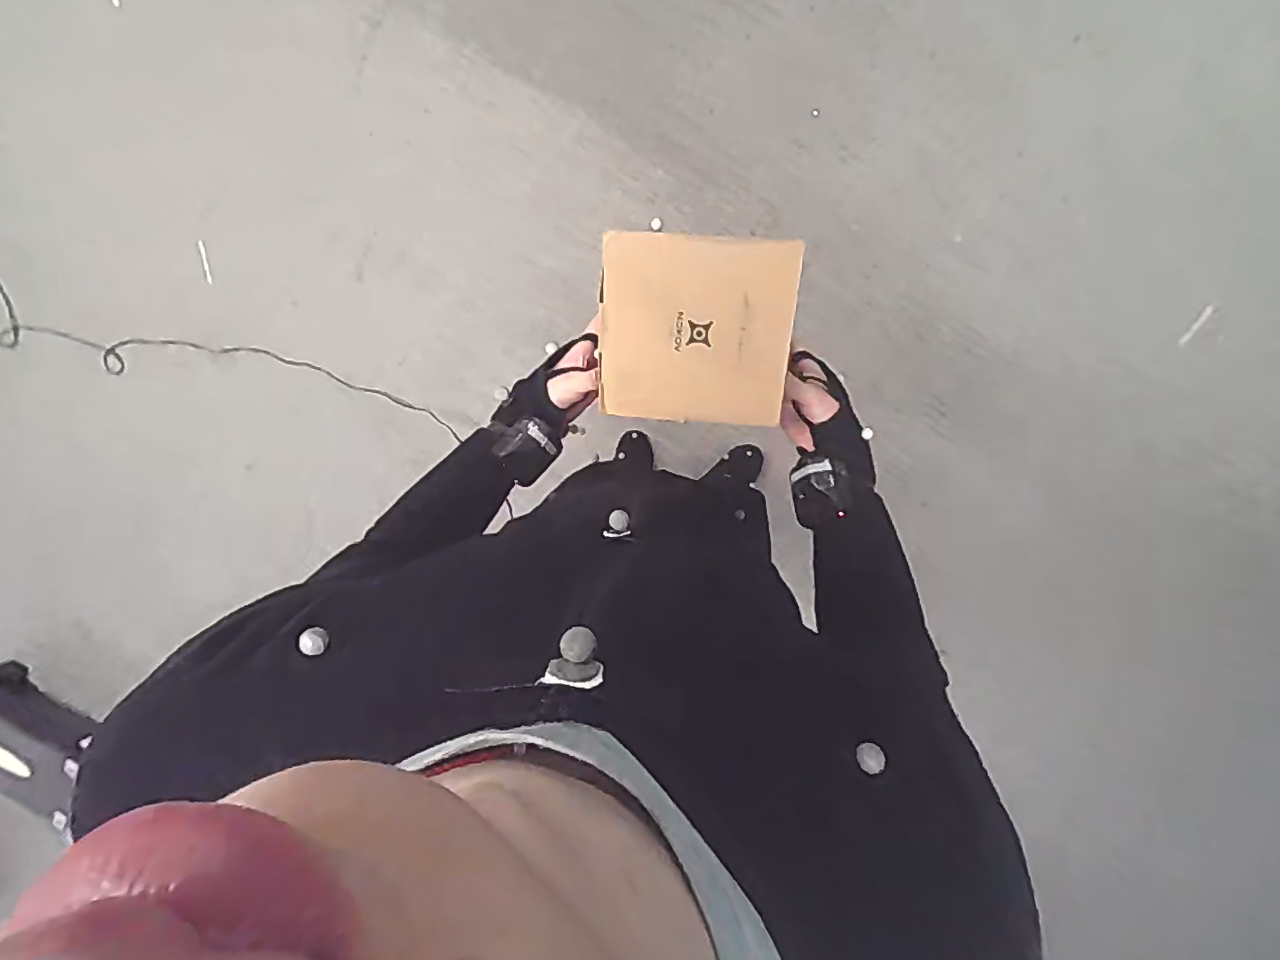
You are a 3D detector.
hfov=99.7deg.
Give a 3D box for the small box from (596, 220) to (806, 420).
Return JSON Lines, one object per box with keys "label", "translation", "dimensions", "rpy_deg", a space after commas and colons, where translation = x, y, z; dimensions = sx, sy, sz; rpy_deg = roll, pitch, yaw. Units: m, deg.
{"label": "small box", "translation": [0.053, -0.168, 0.554], "dimensions": [0.179, 0.176, 0.168], "rpy_deg": [3, 114, 2]}
